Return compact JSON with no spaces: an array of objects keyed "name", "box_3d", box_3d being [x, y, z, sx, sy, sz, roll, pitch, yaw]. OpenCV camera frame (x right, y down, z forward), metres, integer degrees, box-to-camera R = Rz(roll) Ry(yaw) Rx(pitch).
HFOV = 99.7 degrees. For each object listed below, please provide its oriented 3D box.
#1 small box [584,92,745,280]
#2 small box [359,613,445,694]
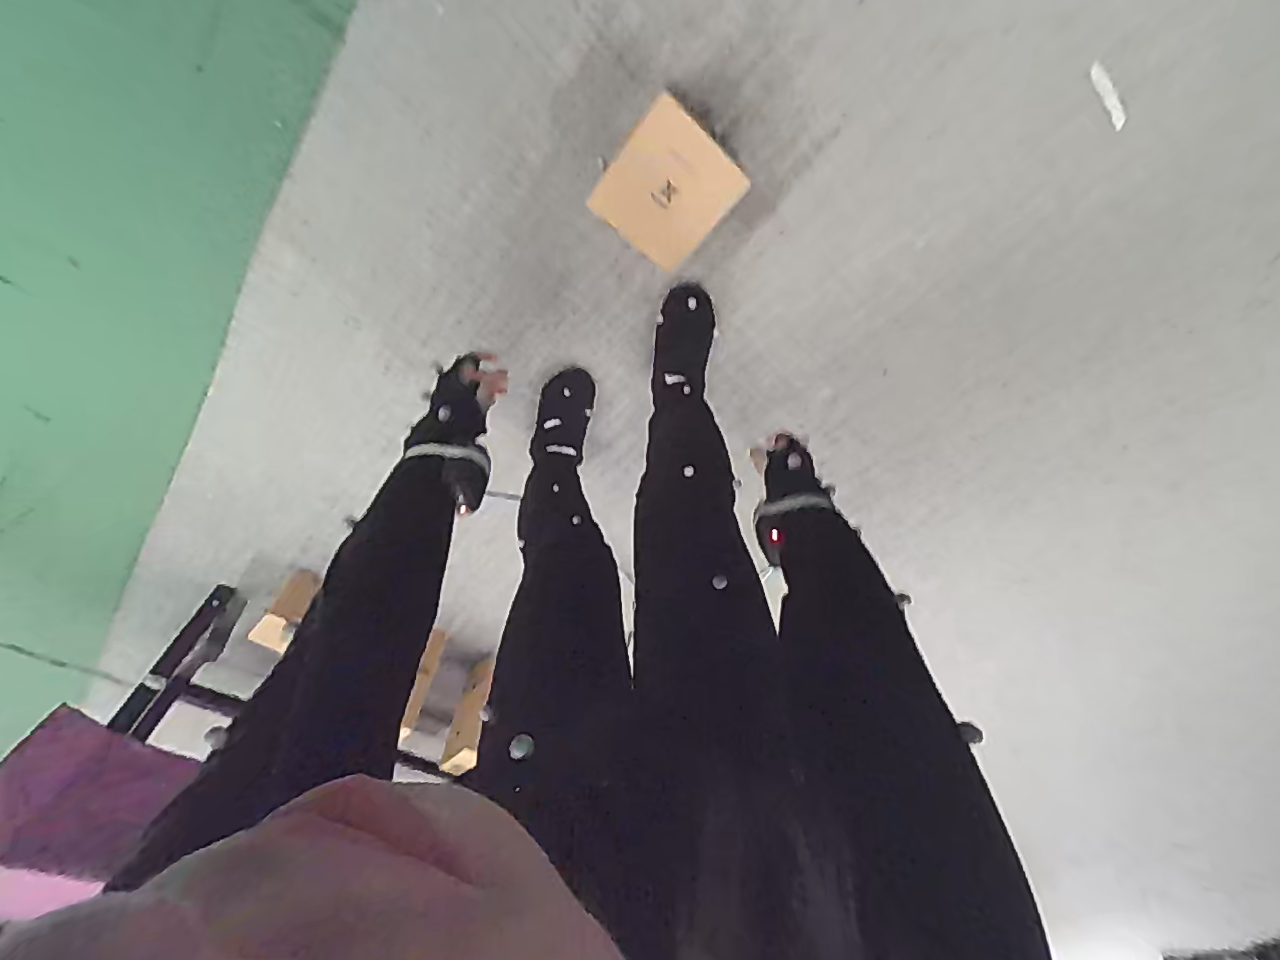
[{"name":"small box","box_3d":[0.039,-0.452,0.833,0.168,0.176,0.179,34,124,-24]},{"name":"small box","box_3d":[-0.764,0.560,1.751,0.179,0.176,0.168,34,124,-22]}]
